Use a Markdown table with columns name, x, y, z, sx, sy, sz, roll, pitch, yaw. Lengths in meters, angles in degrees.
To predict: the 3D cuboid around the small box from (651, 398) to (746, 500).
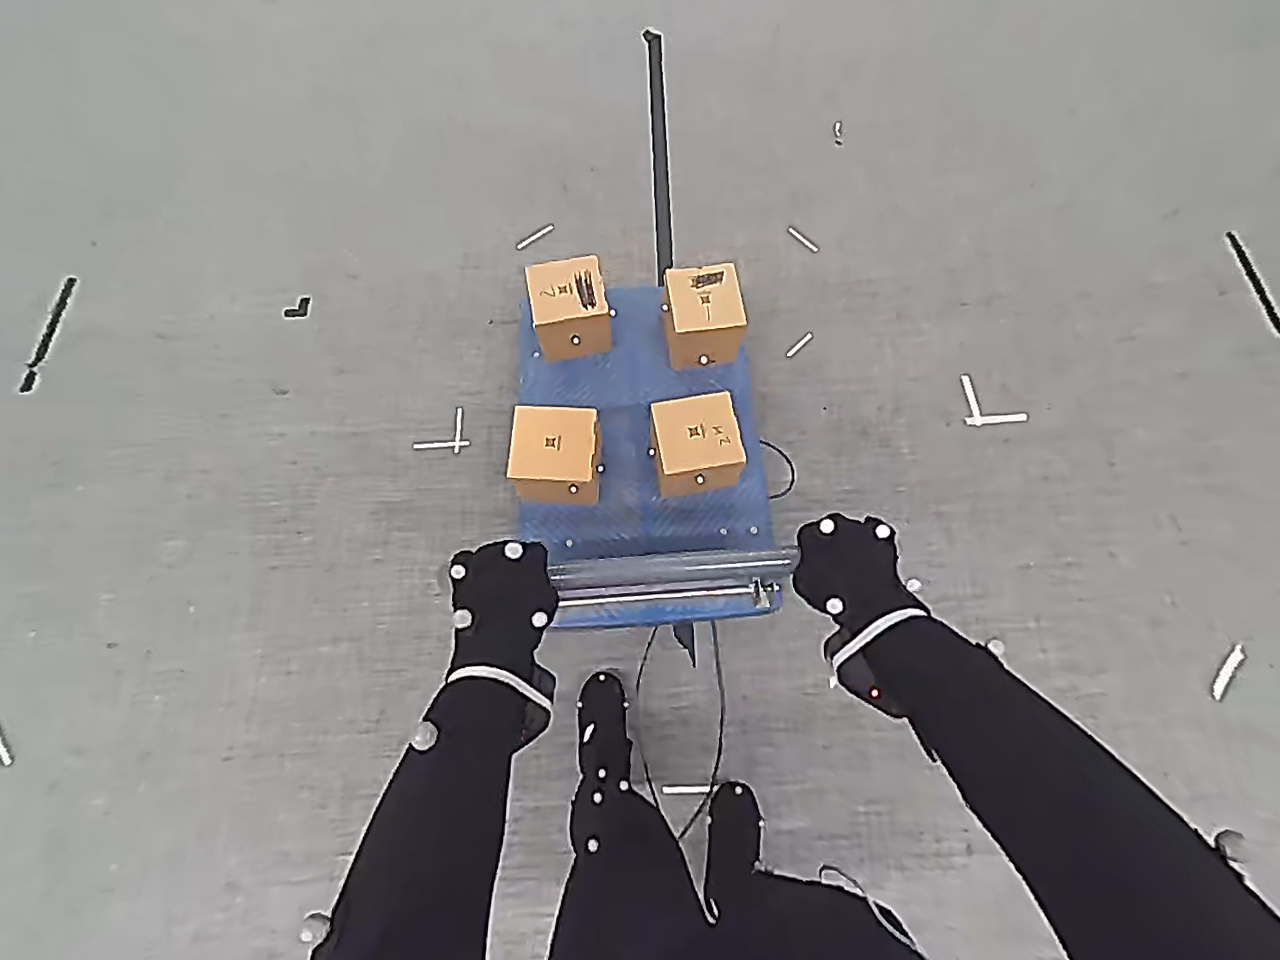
| name | x | y | z | sx | sy | sz | roll | pitch | yaw |
| --- | --- | --- | --- | --- | --- | --- | --- | --- | --- |
| small box | 0.124 | -0.063 | 1.215 | 0.179 | 0.176 | 0.168 | -9 | 71 | -3 |

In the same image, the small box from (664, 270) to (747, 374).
| name | x | y | z | sx | sy | sz | roll | pitch | yaw |
| --- | --- | --- | --- | --- | --- | --- | --- | --- | --- |
| small box | 0.152 | -0.384 | 1.327 | 0.168 | 0.176 | 0.179 | -7 | 72 | -2 |

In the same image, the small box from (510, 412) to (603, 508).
| name | x | y | z | sx | sy | sz | roll | pitch | yaw |
| --- | --- | --- | --- | --- | --- | --- | --- | --- | --- |
| small box | -0.179 | -0.040 | 1.209 | 0.179 | 0.176 | 0.168 | 2 | 70 | -1 |
